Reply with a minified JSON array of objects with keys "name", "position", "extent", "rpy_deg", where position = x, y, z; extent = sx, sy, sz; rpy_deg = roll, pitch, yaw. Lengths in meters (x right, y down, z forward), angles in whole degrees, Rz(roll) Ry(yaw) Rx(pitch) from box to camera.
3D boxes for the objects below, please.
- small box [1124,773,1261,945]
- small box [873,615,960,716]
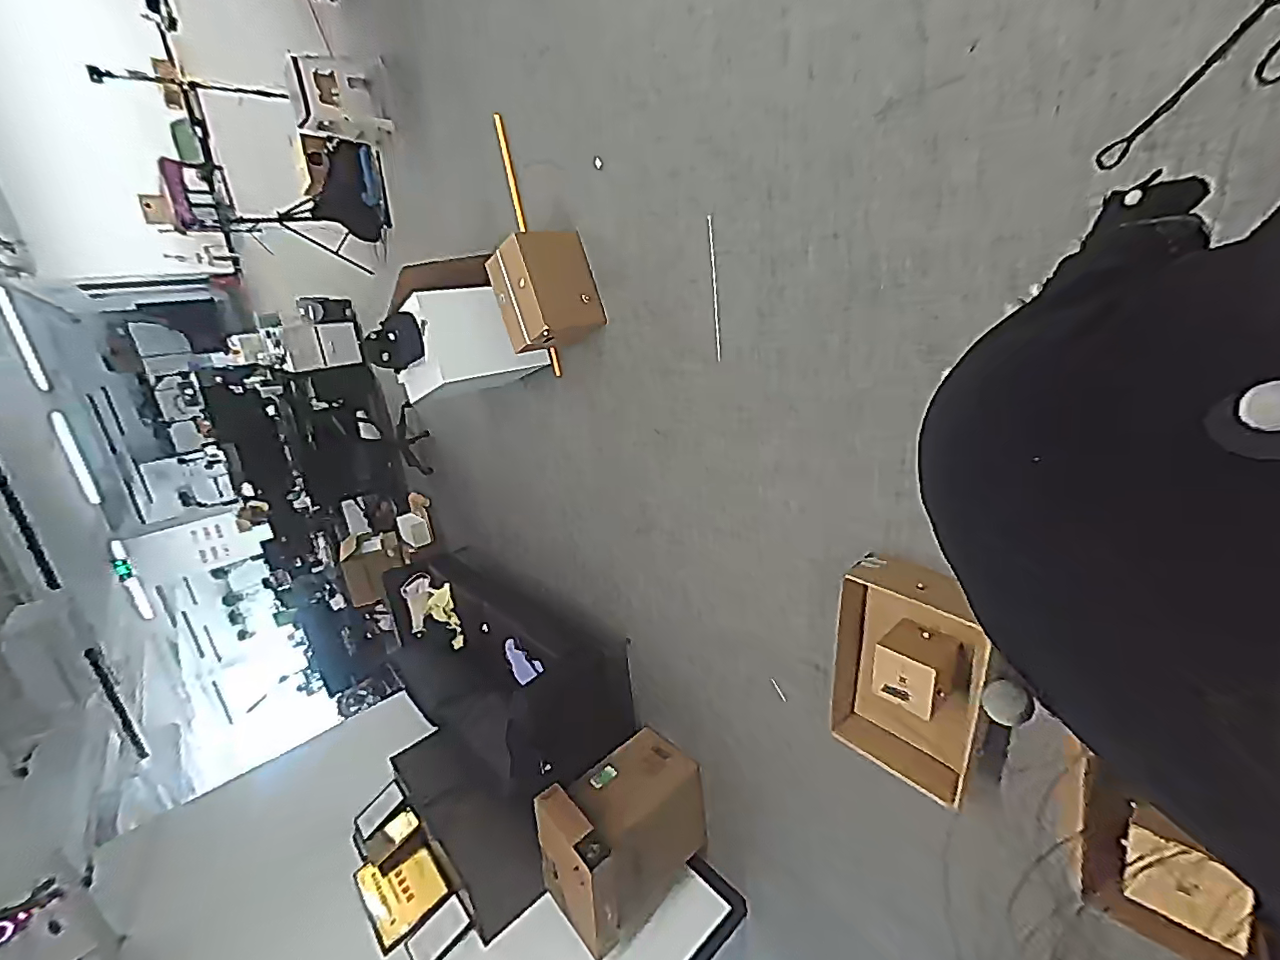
[{"name":"small box","position":[1.070,0.718,1.049],"extent":[0.168,0.176,0.179],"rpy_deg":[8,112,50]},{"name":"small box","position":[0.784,0.518,1.533],"extent":[0.168,0.176,0.179],"rpy_deg":[18,121,47]}]
